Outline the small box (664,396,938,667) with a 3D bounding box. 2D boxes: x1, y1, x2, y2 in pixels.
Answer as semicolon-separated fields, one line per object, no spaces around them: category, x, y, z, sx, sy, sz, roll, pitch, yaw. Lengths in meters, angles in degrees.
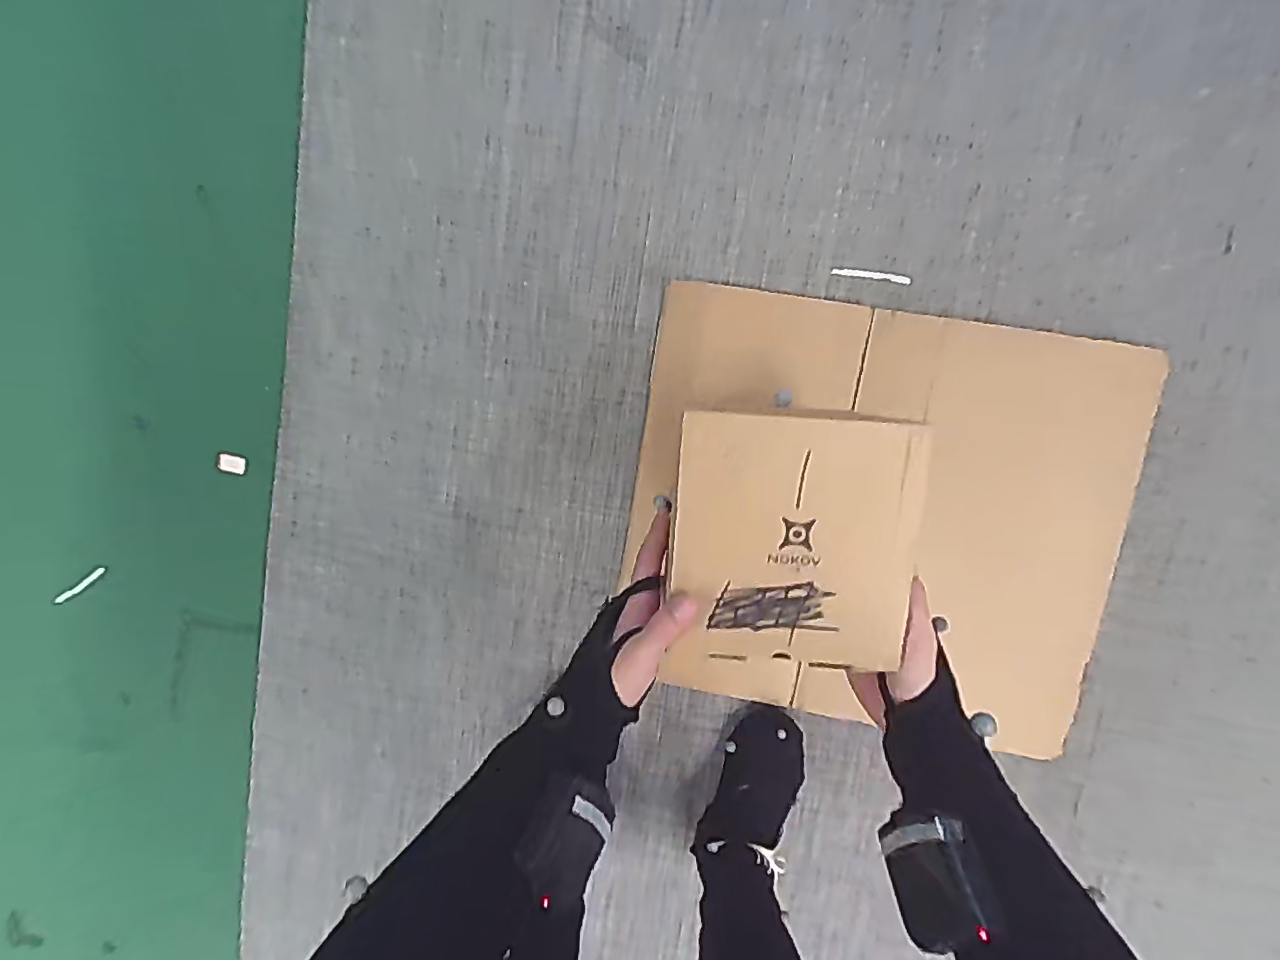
small box;0.109;0.026;0.443;0.168;0.176;0.179;4;100;2
